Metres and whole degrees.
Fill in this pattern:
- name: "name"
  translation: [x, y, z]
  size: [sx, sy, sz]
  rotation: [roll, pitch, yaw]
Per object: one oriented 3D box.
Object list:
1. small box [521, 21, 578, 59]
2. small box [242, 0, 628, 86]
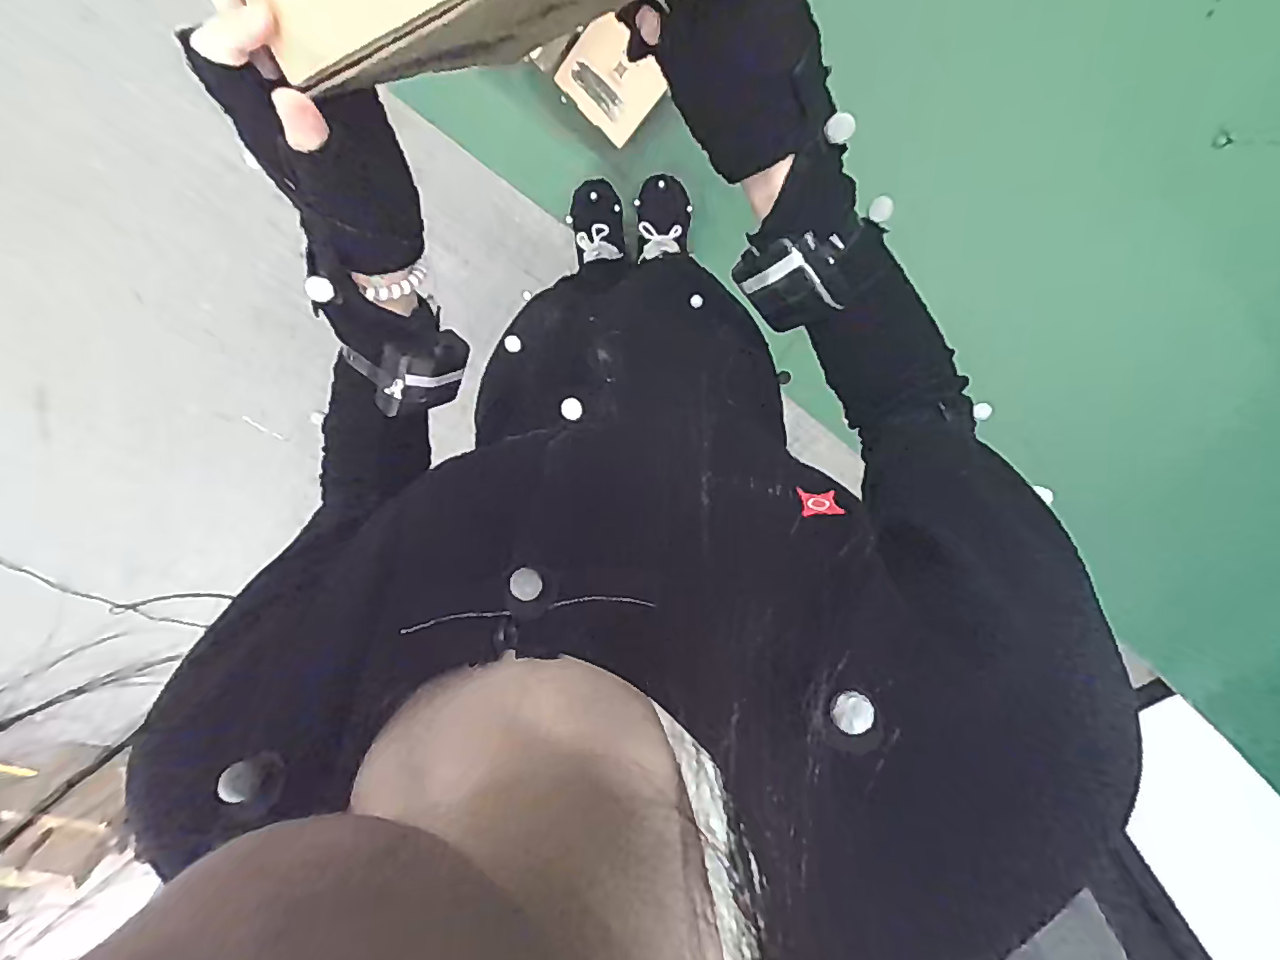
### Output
- name: "small box"
  translation: [-0.177, -0.800, 0.843]
  size: [0.179, 0.176, 0.168]
  rotation: [36, 117, -21]
- name: "small box"
  translation: [-0.077, -0.288, 0.211]
  size: [0.179, 0.168, 0.176]
  rotation: [7, 133, 33]
